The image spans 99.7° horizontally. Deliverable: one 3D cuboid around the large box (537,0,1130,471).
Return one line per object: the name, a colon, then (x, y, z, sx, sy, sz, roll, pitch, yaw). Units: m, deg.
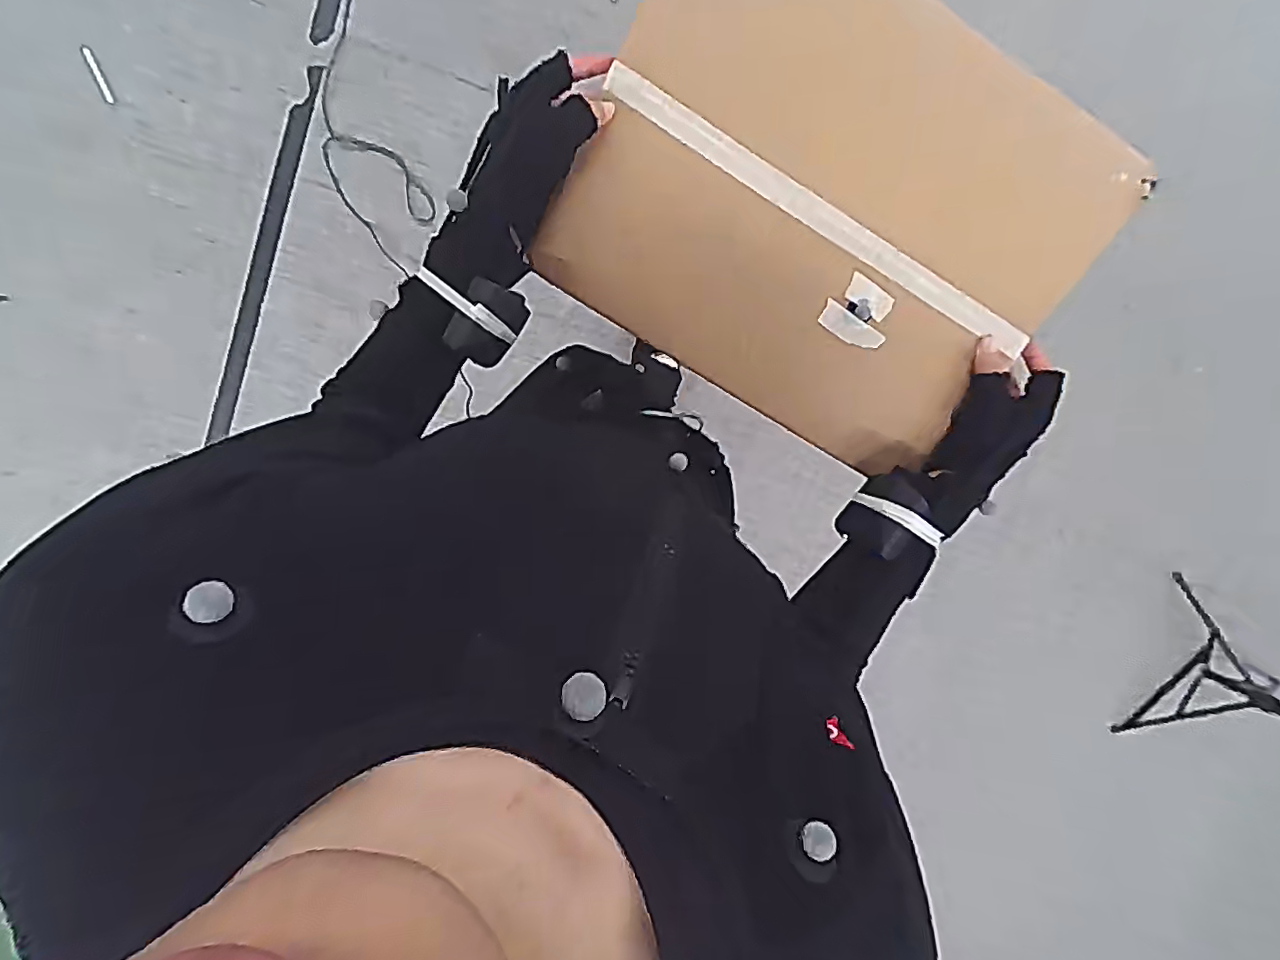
large box: (0.156, -0.270, 0.596, 0.408, 0.320, 0.320, 30, 108, -8)
